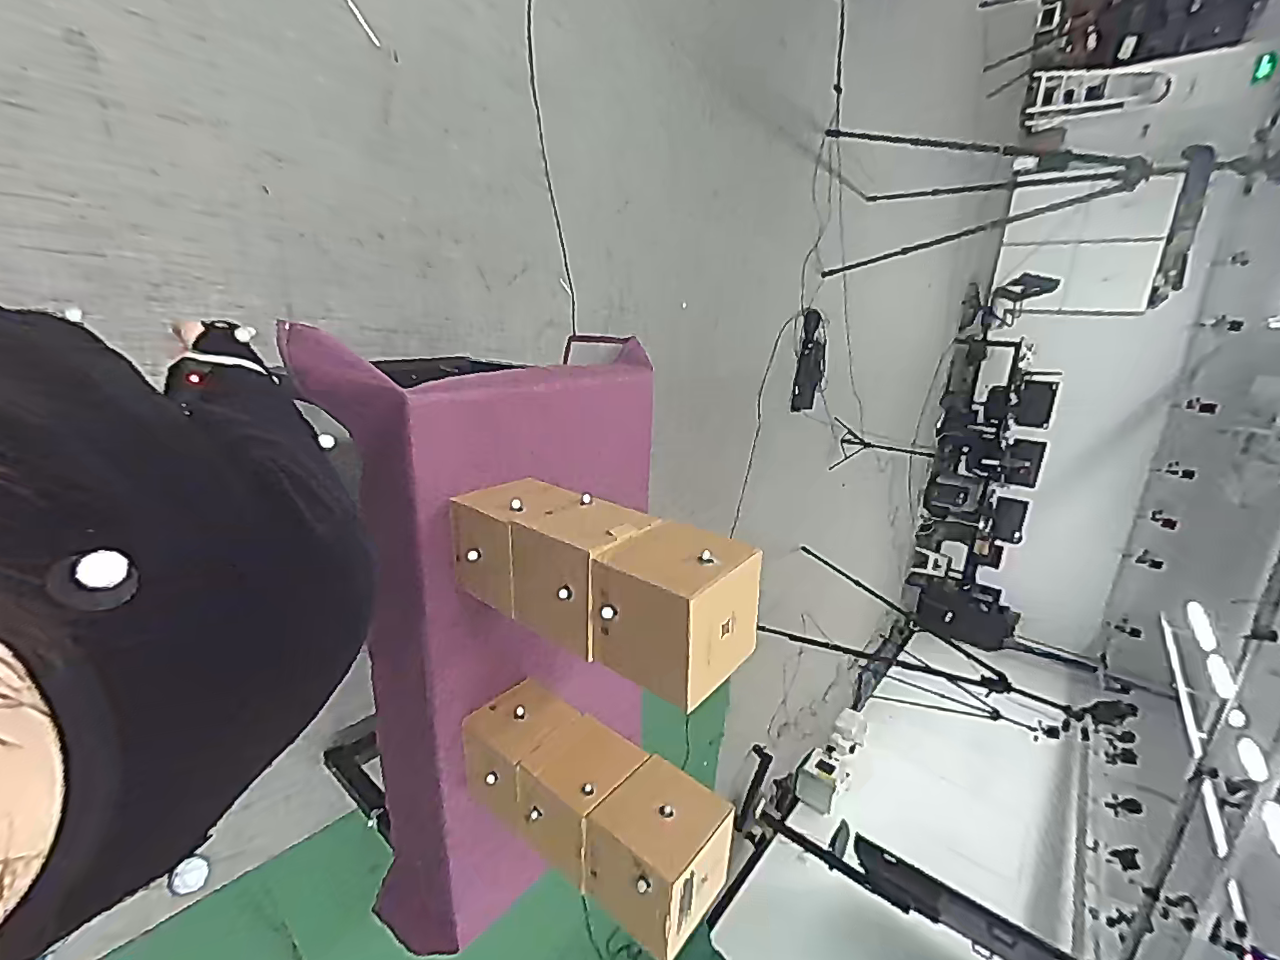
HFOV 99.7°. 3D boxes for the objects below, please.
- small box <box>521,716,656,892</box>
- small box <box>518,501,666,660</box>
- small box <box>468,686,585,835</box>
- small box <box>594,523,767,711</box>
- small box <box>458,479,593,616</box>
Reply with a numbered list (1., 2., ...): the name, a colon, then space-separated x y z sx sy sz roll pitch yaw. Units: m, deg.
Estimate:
1. small box: -0.094 0.566 0.974 0.179 0.176 0.168 -17 115 -47
2. small box: -0.077 0.141 0.844 0.168 0.176 0.179 -18 117 -47
3. small box: -0.223 0.536 1.069 0.168 0.176 0.179 -19 116 -47
4. small box: 0.054 0.173 0.752 0.179 0.176 0.168 -20 117 -46
5. small box: -0.202 0.107 0.945 0.179 0.176 0.168 -18 116 -48
